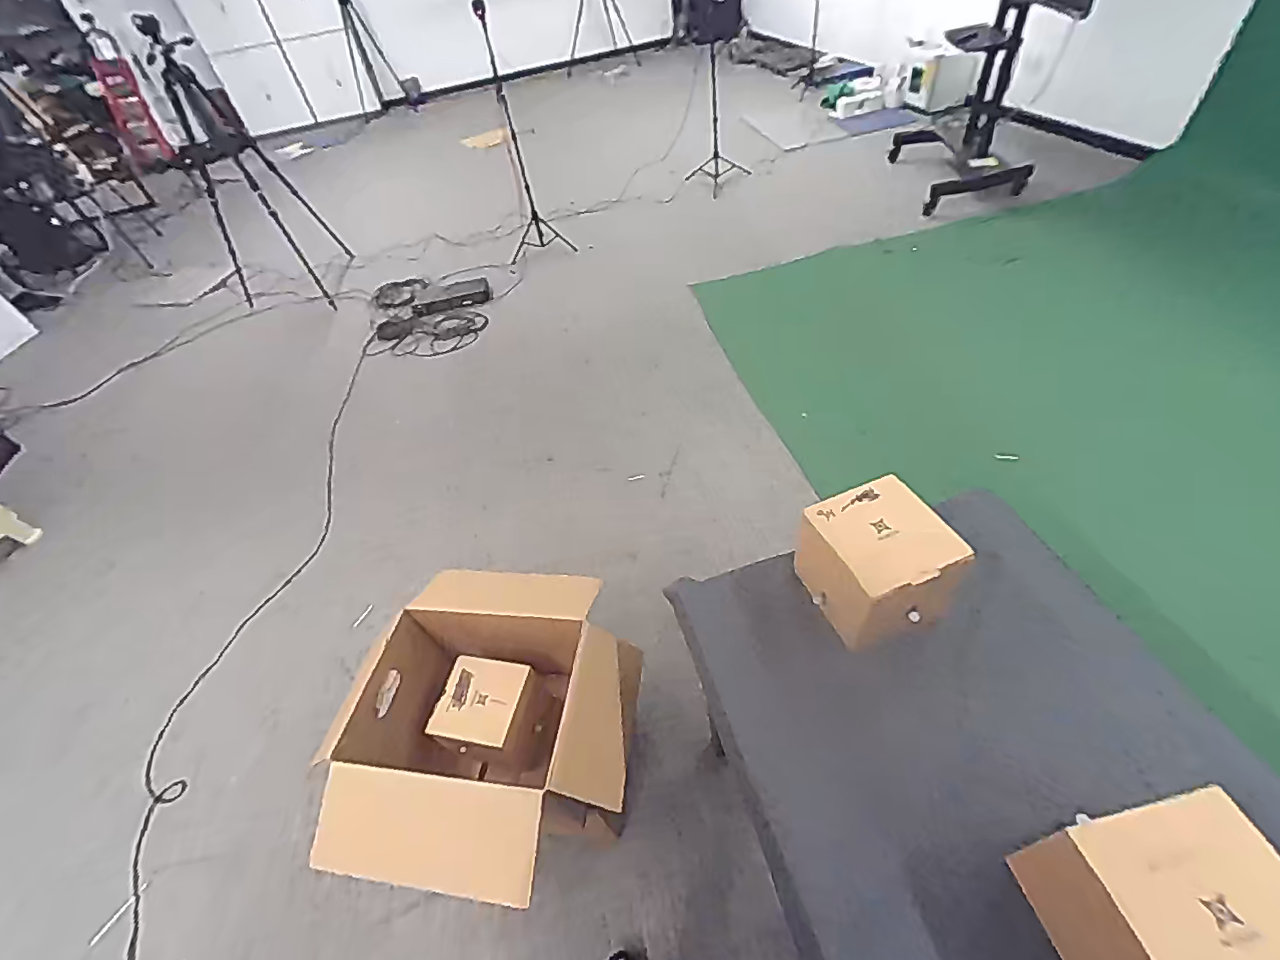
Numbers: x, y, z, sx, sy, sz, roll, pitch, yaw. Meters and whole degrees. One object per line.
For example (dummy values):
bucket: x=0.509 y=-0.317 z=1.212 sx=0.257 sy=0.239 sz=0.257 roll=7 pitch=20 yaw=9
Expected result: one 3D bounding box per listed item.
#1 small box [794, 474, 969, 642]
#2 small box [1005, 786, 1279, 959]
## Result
small box: x=0.357 y=0.128 z=0.838 sx=0.168 sy=0.176 sz=0.179 roll=-19 pitch=48 yaw=-9
small box: x=0.509 y=0.433 z=0.526 sx=0.168 sy=0.176 sz=0.179 roll=-13 pitch=45 yaw=-4
